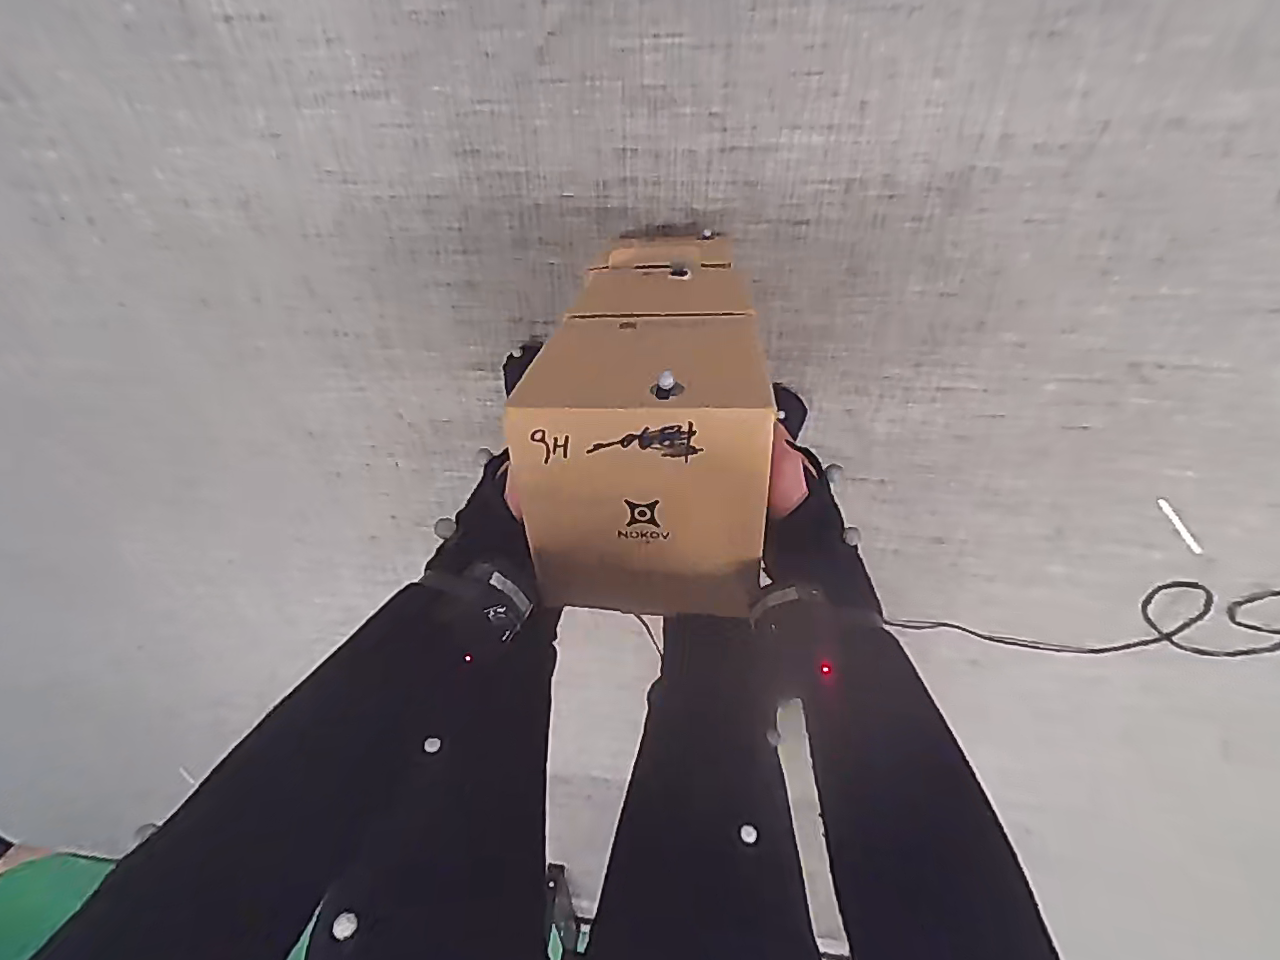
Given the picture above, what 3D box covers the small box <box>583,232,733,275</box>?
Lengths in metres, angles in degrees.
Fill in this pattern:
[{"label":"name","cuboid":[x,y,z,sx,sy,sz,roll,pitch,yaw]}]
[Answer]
[{"label":"small box","cuboid":[0.032,-0.213,0.693,0.168,0.176,0.179,2,126,9]}]
